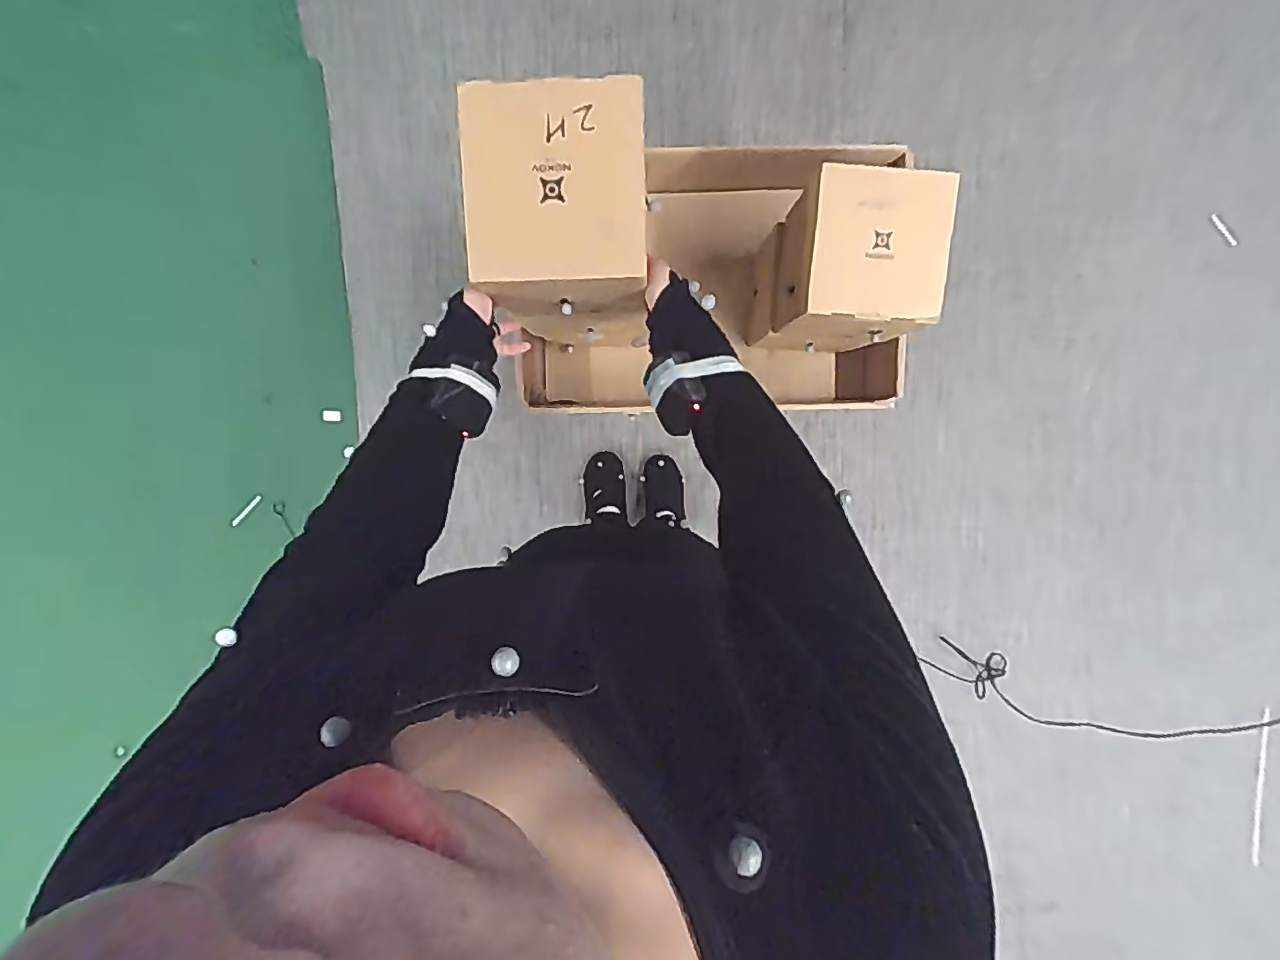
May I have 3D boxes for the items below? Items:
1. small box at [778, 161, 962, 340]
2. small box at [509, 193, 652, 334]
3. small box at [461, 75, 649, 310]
[{"bbox_3d":[0.290,-0.289,0.721,0.168,0.176,0.179,5,96,0],"label":"small box"},{"bbox_3d":[-0.076,-0.295,0.732,0.179,0.176,0.168,-2,96,1],"label":"small box"},{"bbox_3d":[-0.075,-0.280,0.567,0.168,0.176,0.179,-1,96,1],"label":"small box"}]
